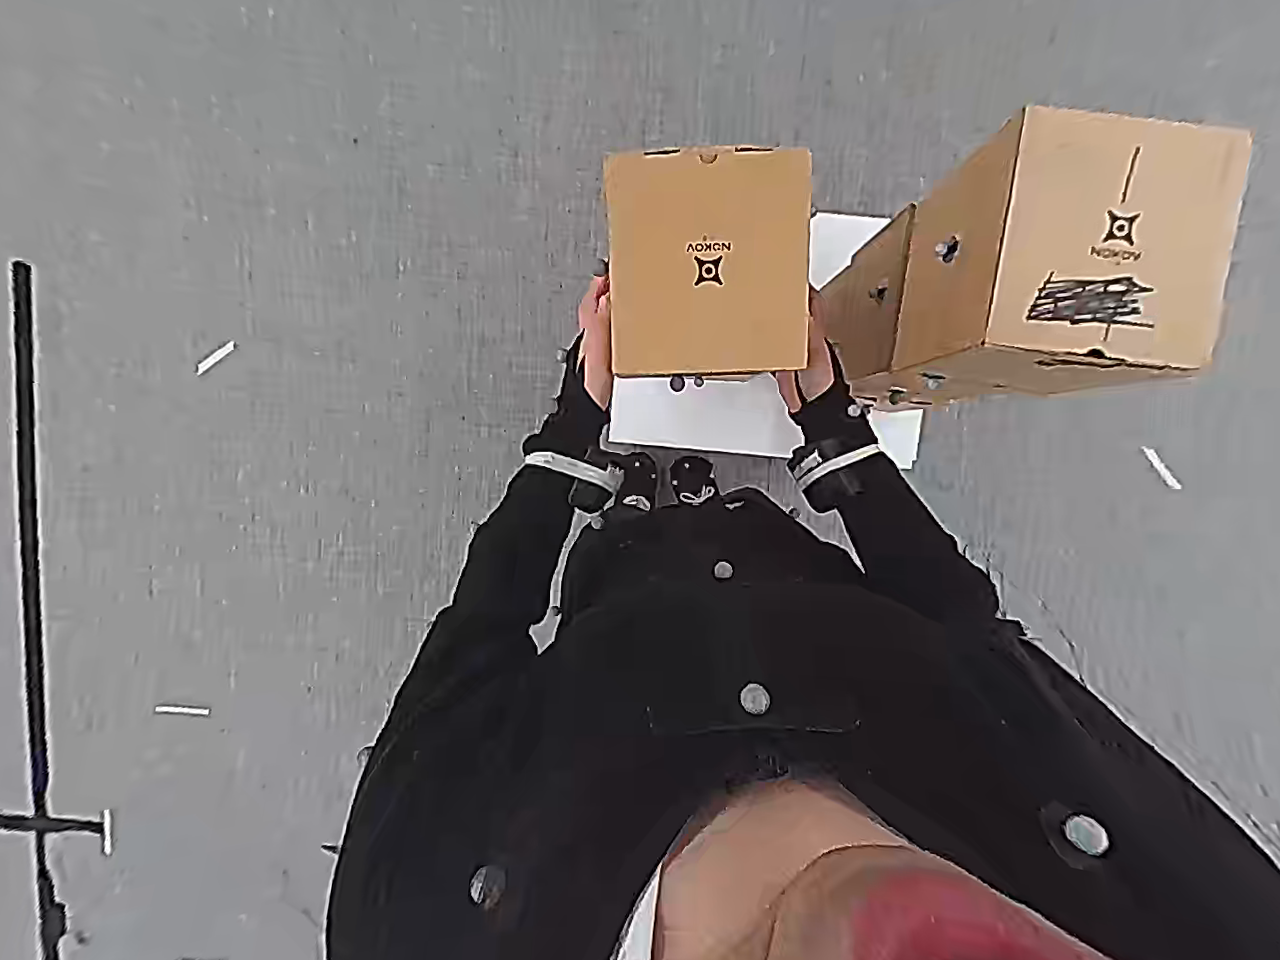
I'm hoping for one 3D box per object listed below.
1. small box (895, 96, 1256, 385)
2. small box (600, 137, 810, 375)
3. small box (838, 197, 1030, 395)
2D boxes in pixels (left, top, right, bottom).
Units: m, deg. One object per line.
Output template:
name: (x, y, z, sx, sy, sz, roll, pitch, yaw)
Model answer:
small box: (0.346, -0.184, 0.470, 0.168, 0.176, 0.179, 8, 93, 1)
small box: (0.054, -0.191, 0.513, 0.168, 0.176, 0.179, -3, 100, 0)
small box: (0.347, -0.200, 0.635, 0.168, 0.176, 0.179, 6, 96, 1)
